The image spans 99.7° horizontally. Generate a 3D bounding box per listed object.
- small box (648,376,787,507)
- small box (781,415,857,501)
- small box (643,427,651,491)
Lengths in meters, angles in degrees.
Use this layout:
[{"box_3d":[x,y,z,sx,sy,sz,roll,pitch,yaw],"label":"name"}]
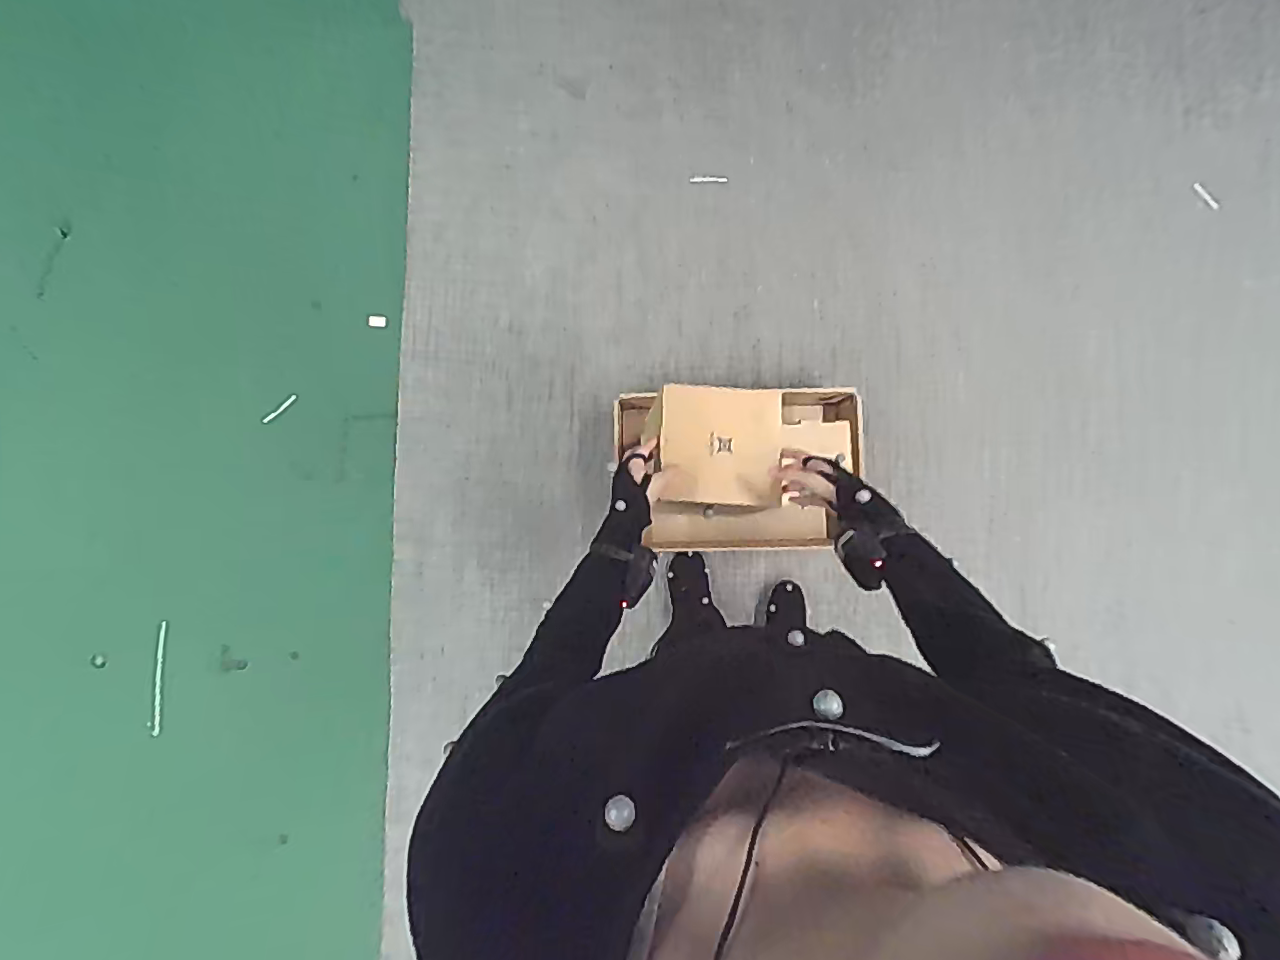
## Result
[{"box_3d":[0.110,-0.049,0.818,0.179,0.176,0.168,2,82,-5],"label":"small box"},{"box_3d":[0.373,-0.044,1.218,0.168,0.176,0.179,-2,87,2],"label":"small box"},{"box_3d":[0.100,-0.048,1.388,0.179,0.176,0.168,-4,89,-1],"label":"small box"}]
